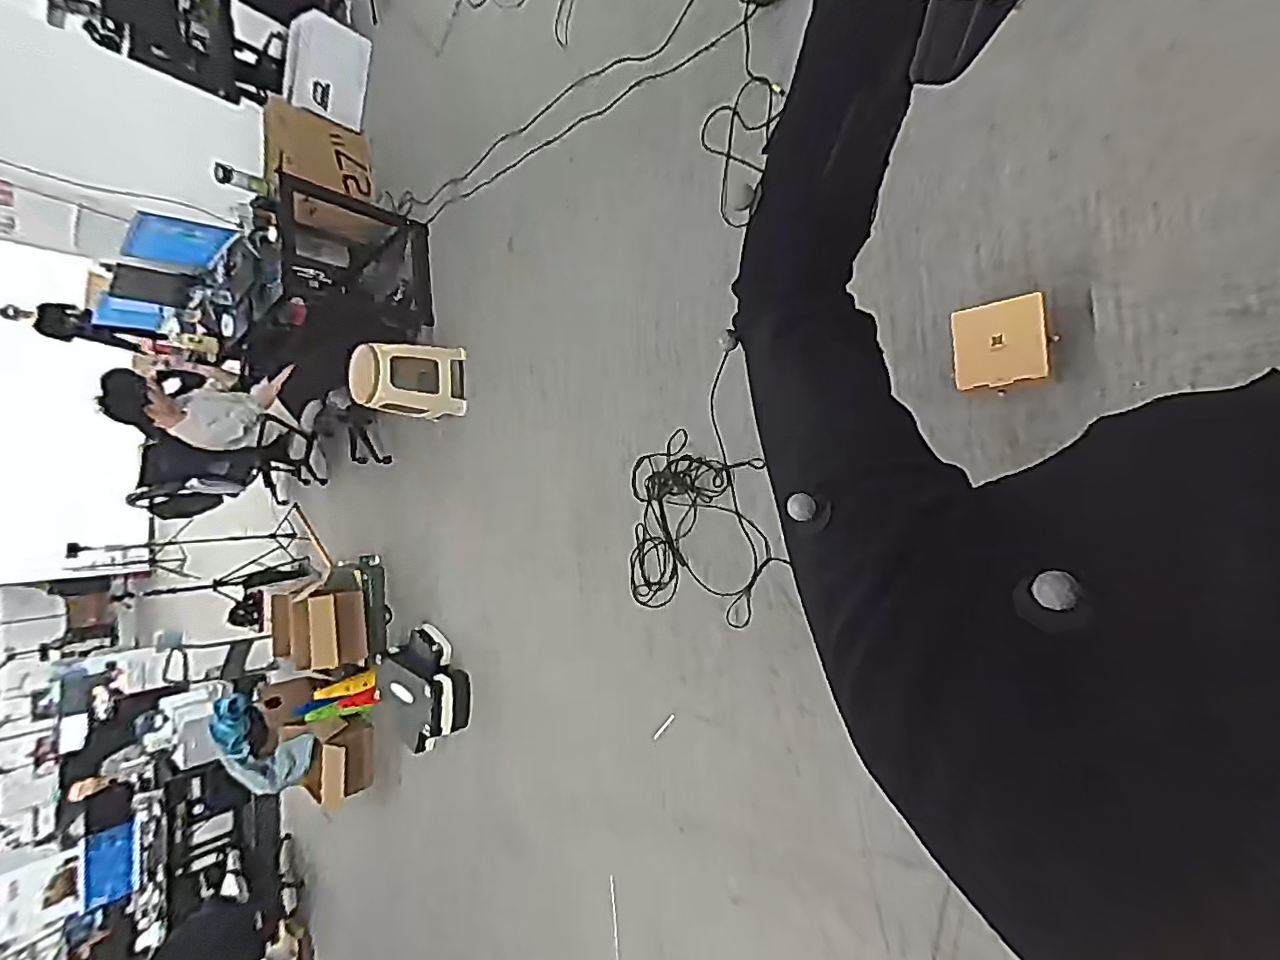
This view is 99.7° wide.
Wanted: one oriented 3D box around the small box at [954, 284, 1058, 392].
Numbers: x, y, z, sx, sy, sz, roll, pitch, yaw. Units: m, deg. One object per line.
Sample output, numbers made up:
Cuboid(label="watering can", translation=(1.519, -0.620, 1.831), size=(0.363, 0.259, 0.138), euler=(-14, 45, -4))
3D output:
Cuboid(label="small box", translation=(0.809, -0.302, 1.194), size=(0.168, 0.176, 0.179), euler=(-6, 86, 42))
